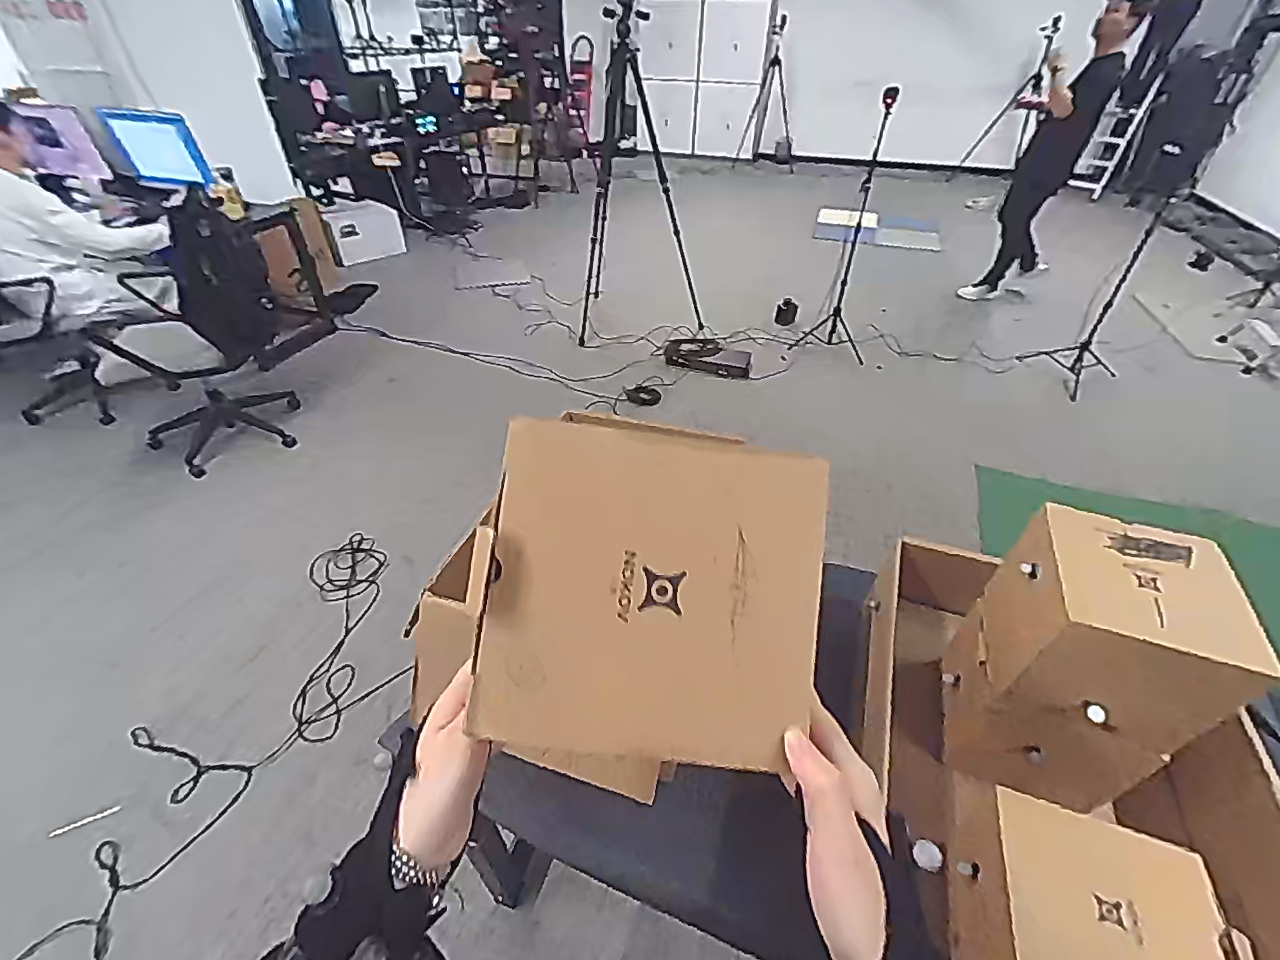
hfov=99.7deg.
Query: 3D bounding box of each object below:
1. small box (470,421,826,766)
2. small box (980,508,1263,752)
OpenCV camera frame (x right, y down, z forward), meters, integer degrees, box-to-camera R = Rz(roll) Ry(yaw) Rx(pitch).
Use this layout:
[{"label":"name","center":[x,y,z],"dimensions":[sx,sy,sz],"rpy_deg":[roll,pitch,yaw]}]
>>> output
[{"label":"small box","center":[0.003,0.067,0.368],"dimensions":[0.179,0.176,0.168],"rpy_deg":[8,84,-3]},{"label":"small box","center":[0.509,0.167,0.612],"dimensions":[0.168,0.176,0.179],"rpy_deg":[15,45,16]}]
